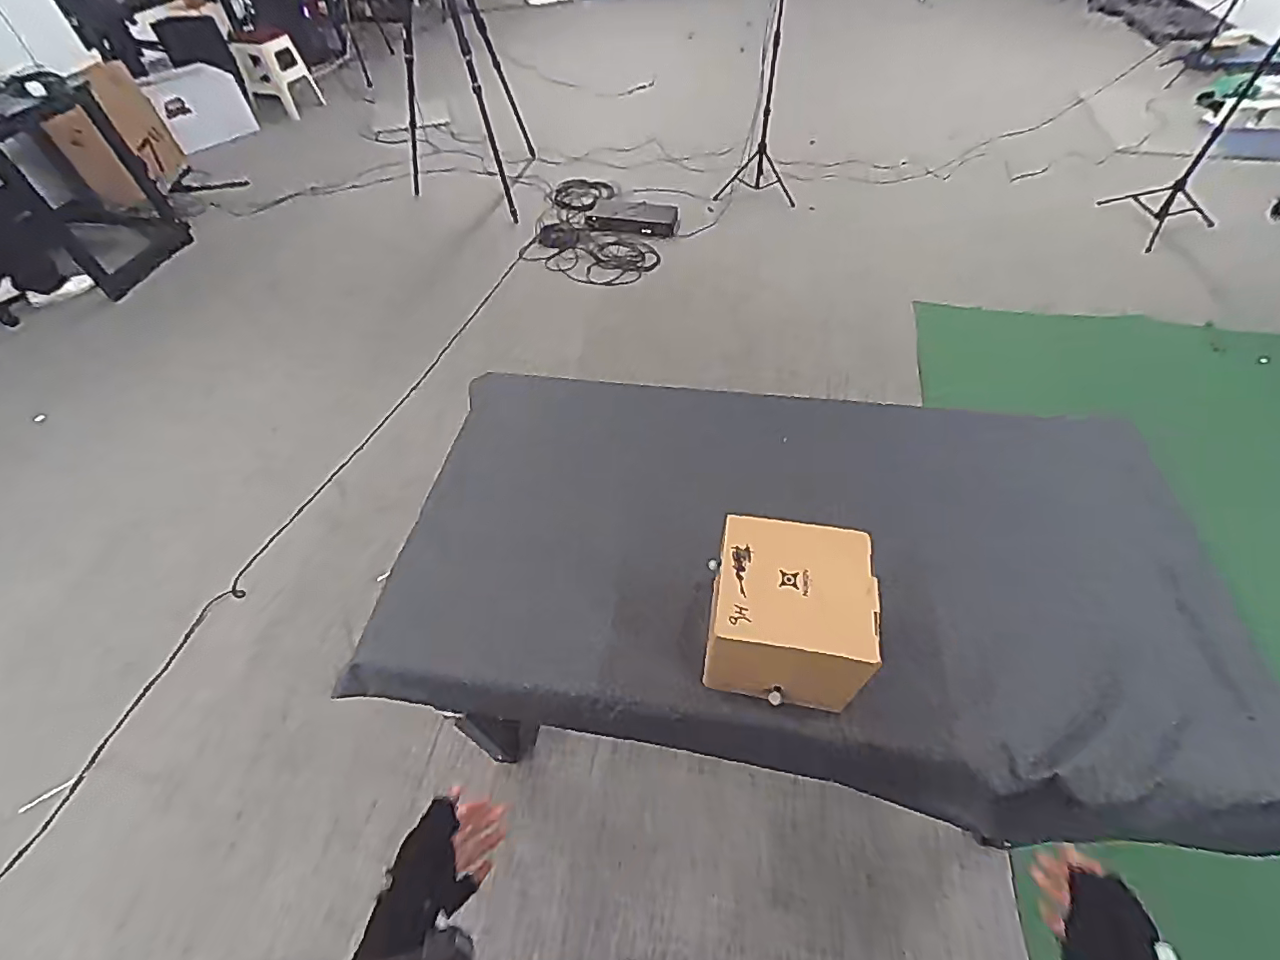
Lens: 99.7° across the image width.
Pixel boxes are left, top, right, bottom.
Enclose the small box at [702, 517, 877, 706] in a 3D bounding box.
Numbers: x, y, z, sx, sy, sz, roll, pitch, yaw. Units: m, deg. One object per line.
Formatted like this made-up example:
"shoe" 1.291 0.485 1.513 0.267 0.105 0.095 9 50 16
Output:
"small box" 0.181 0.171 0.688 0.179 0.176 0.168 8 51 7
